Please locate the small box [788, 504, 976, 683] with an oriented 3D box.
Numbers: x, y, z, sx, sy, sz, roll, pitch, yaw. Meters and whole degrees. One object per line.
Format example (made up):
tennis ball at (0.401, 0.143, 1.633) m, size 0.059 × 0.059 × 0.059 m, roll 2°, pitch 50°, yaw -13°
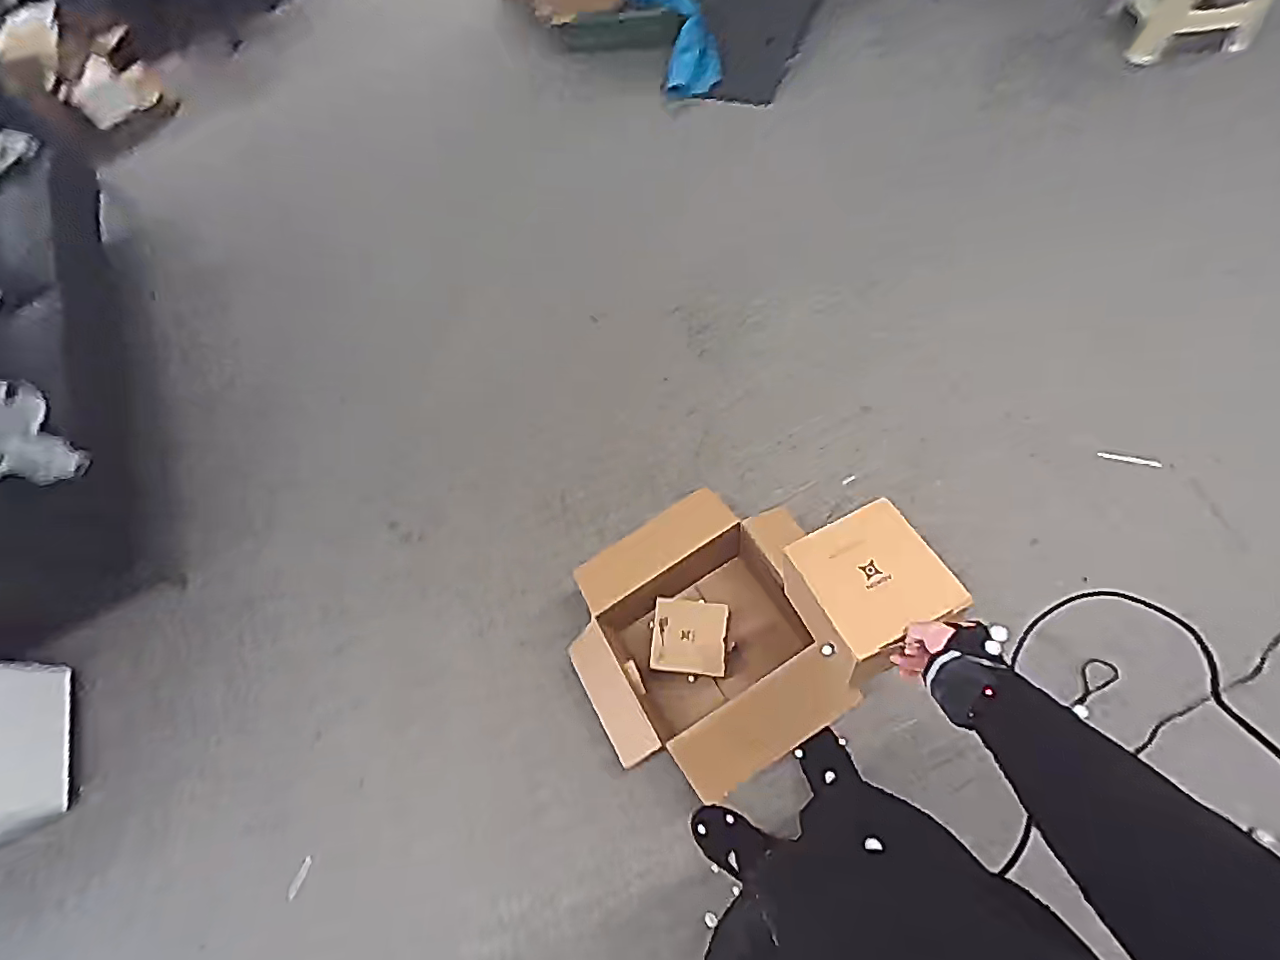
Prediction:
small box at (0.327, 0.171, 0.771) m, size 0.168 × 0.176 × 0.179 m, roll -24°, pitch 54°, yaw -2°
